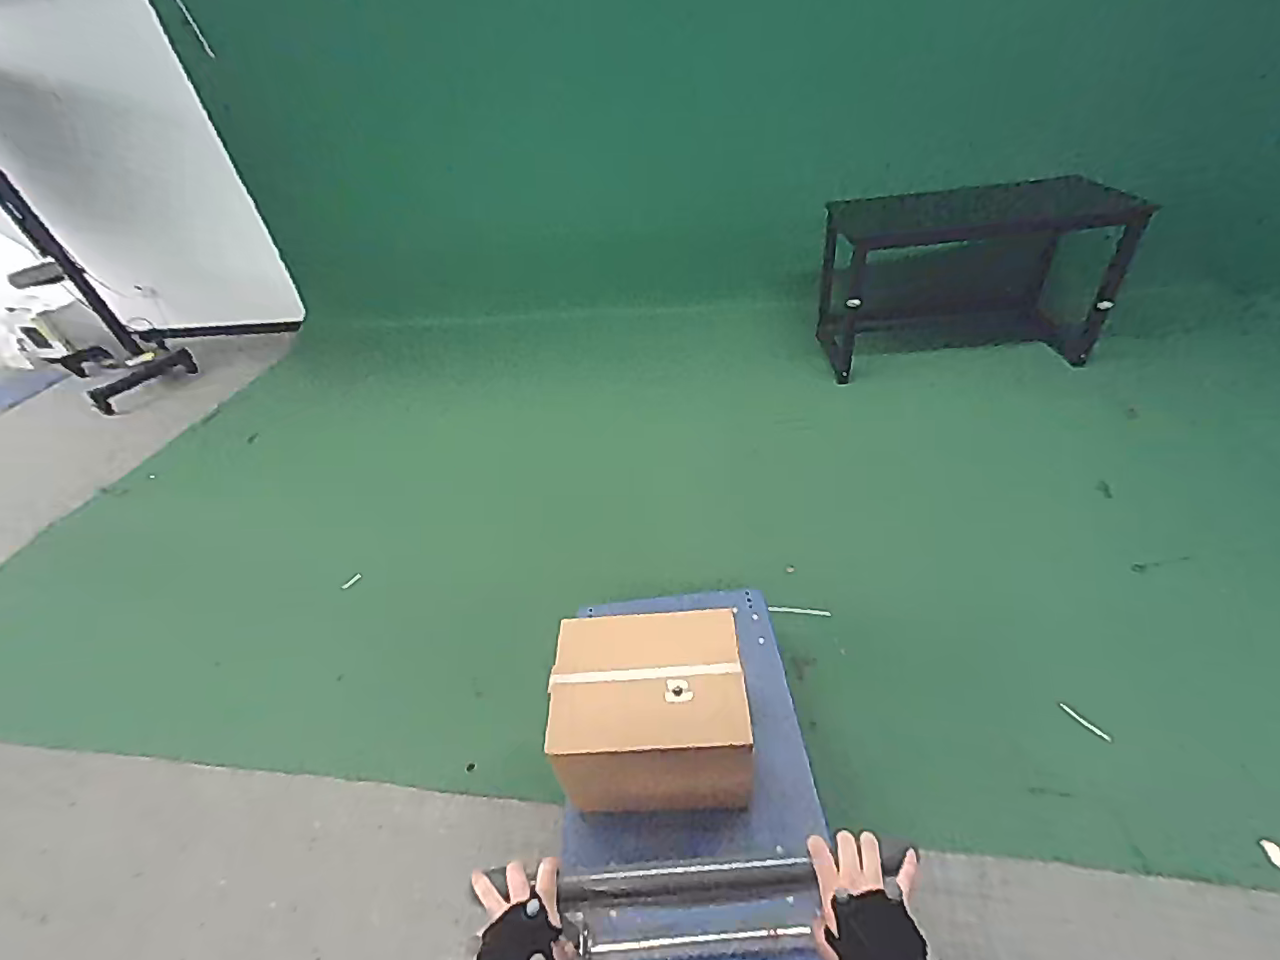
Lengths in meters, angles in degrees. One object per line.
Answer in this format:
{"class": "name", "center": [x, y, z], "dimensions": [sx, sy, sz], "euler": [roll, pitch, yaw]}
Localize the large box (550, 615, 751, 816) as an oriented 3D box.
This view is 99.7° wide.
{"class": "large box", "center": [0.030, 0.546, 1.256], "dimensions": [0.408, 0.320, 0.320], "euler": [-4, 39, 3]}
